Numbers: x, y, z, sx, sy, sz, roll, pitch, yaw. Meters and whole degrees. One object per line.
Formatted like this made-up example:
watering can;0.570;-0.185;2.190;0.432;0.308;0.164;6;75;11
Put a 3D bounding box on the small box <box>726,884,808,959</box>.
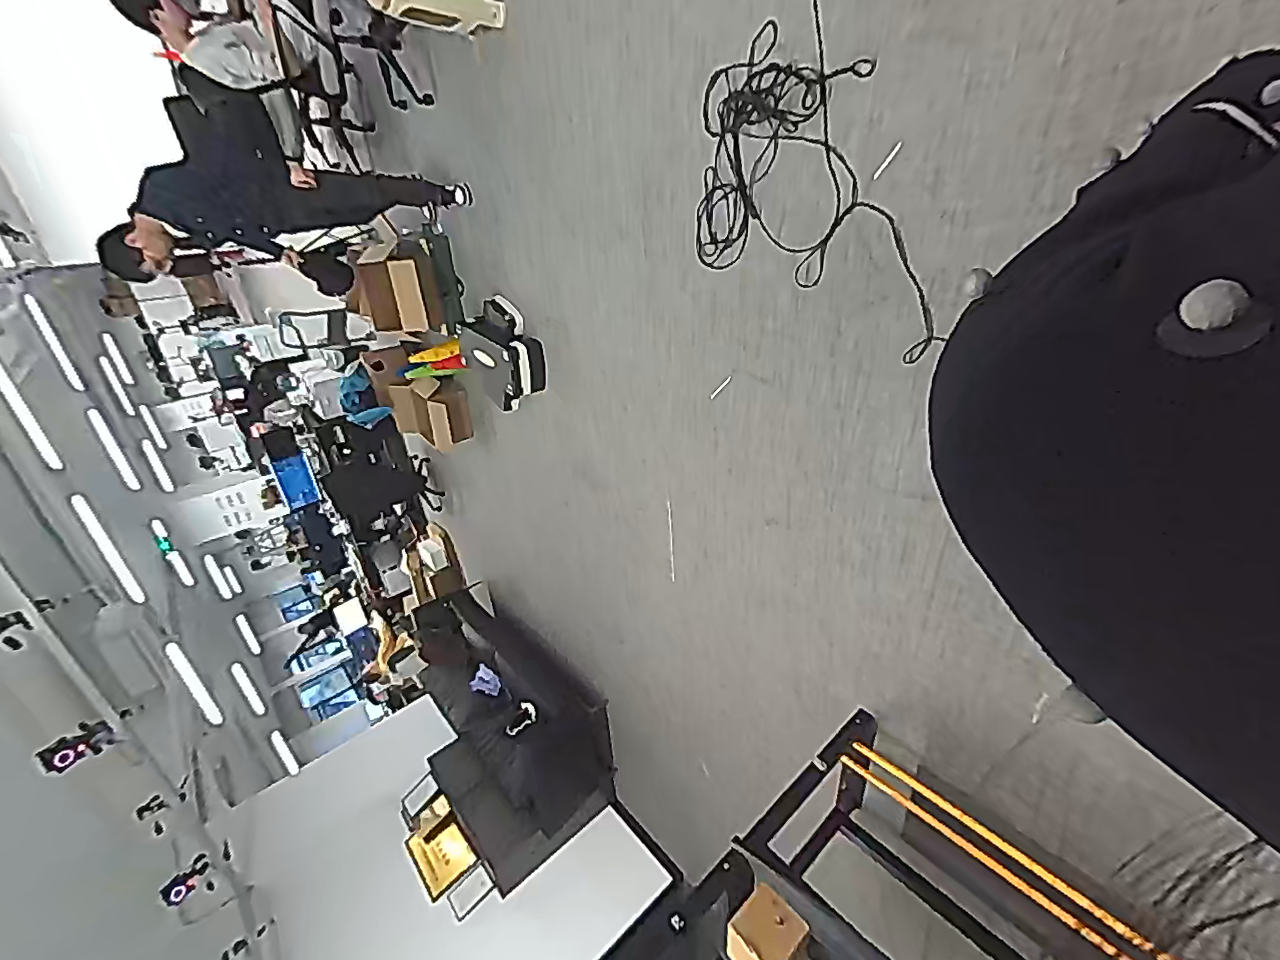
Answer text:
small box;0.365;1.330;1.553;0.168;0.176;0.179;25;129;44
